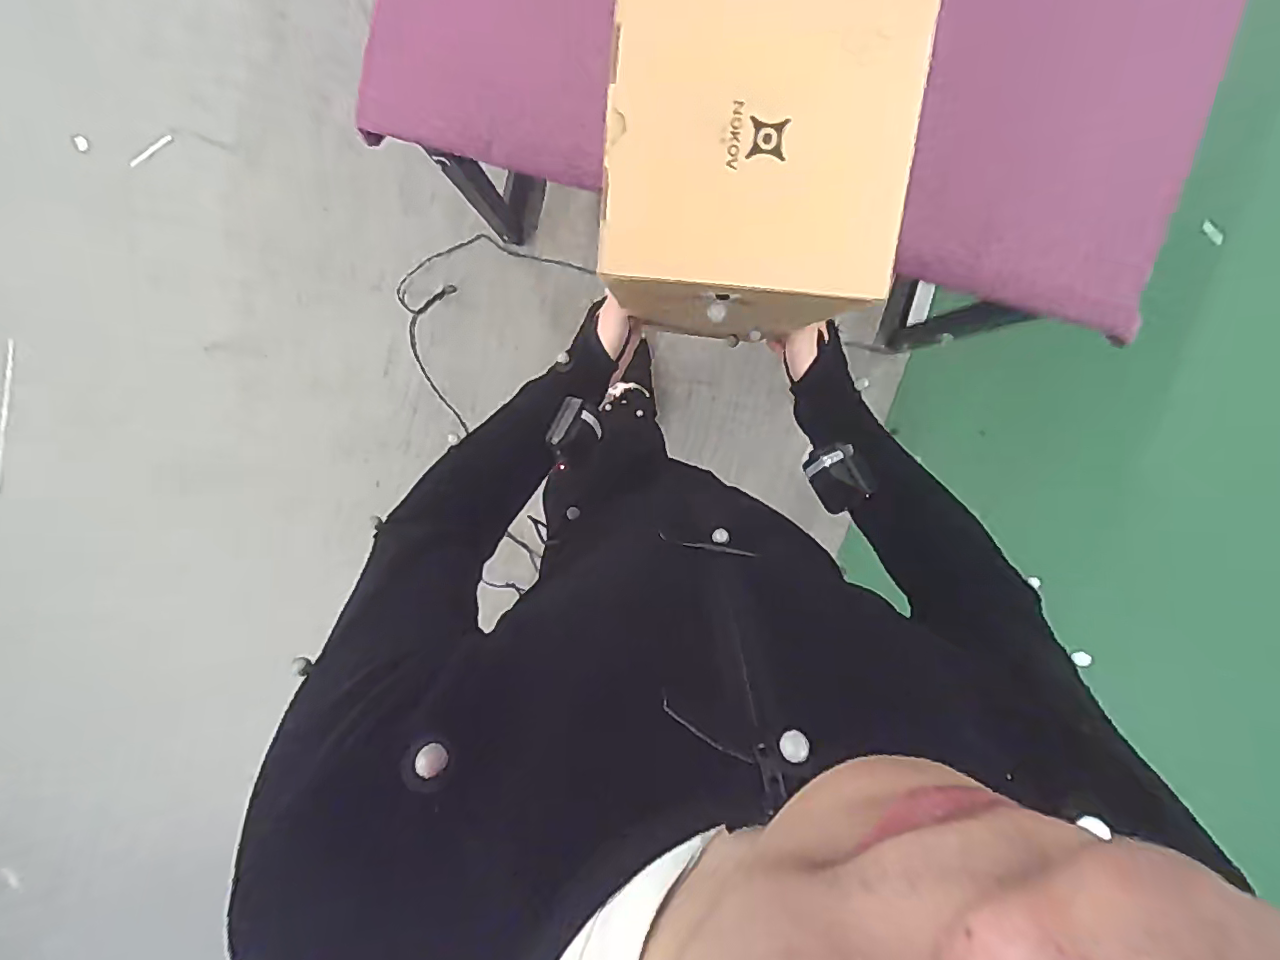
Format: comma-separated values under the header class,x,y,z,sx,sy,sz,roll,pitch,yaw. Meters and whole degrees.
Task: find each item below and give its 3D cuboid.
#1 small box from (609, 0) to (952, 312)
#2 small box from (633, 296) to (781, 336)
class,x,y,z,sx,sy,sz,roll,pitch,yaw
small box,0.078,-0.216,0.385,0.179,0.176,0.168,6,102,2
small box,0.091,-0.284,0.704,0.179,0.176,0.168,8,101,1
